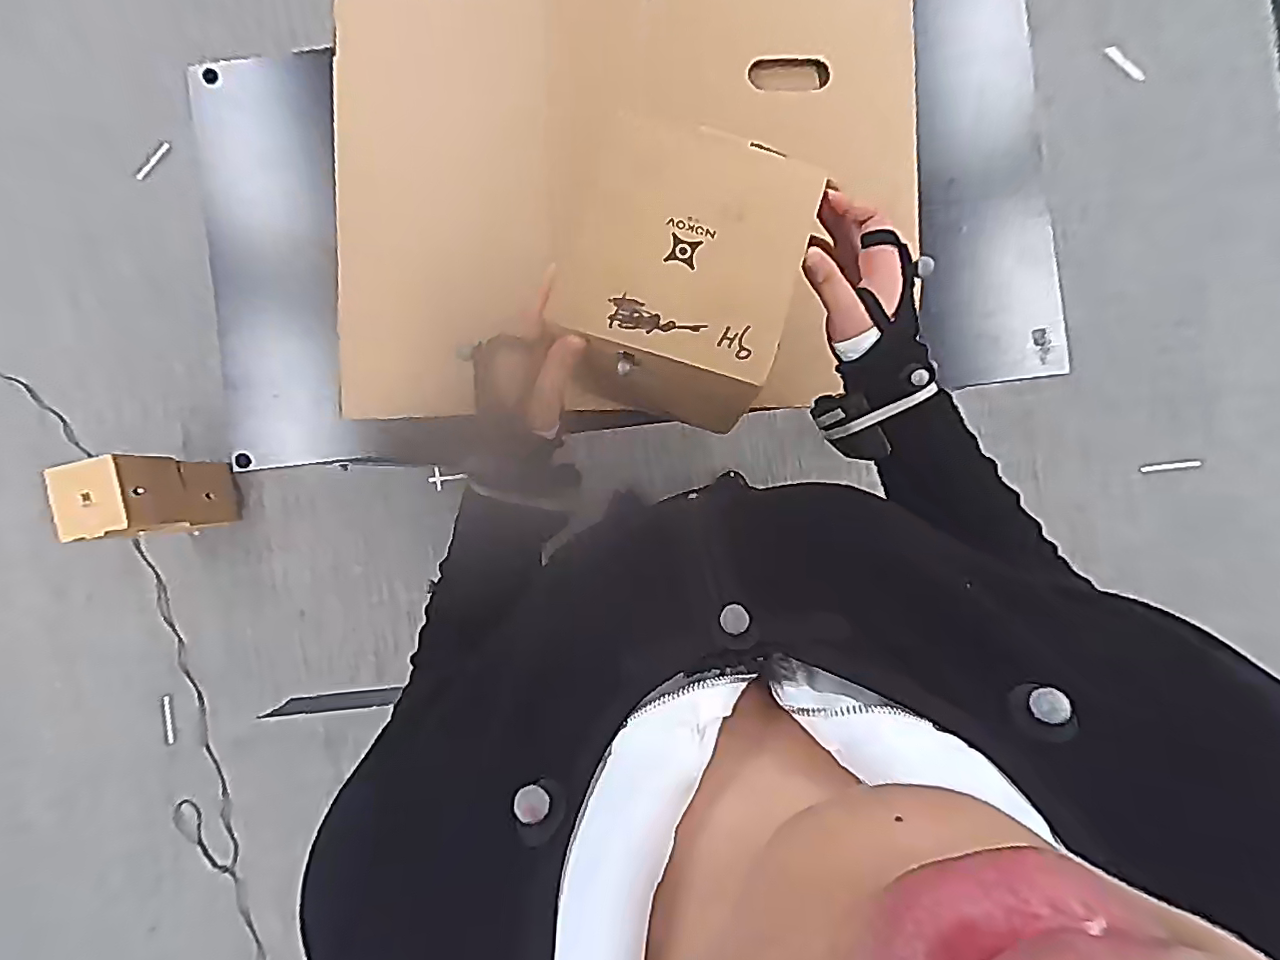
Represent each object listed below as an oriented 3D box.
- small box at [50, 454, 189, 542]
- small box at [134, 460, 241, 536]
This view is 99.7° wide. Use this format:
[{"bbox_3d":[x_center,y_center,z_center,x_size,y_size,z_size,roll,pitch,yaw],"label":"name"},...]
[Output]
[{"bbox_3d":[-1.247,0.041,1.311,0.168,0.176,0.179,-14,88,1],"label":"small box"},{"bbox_3d":[-1.238,0.047,1.473,0.168,0.176,0.179,-10,90,2],"label":"small box"}]
